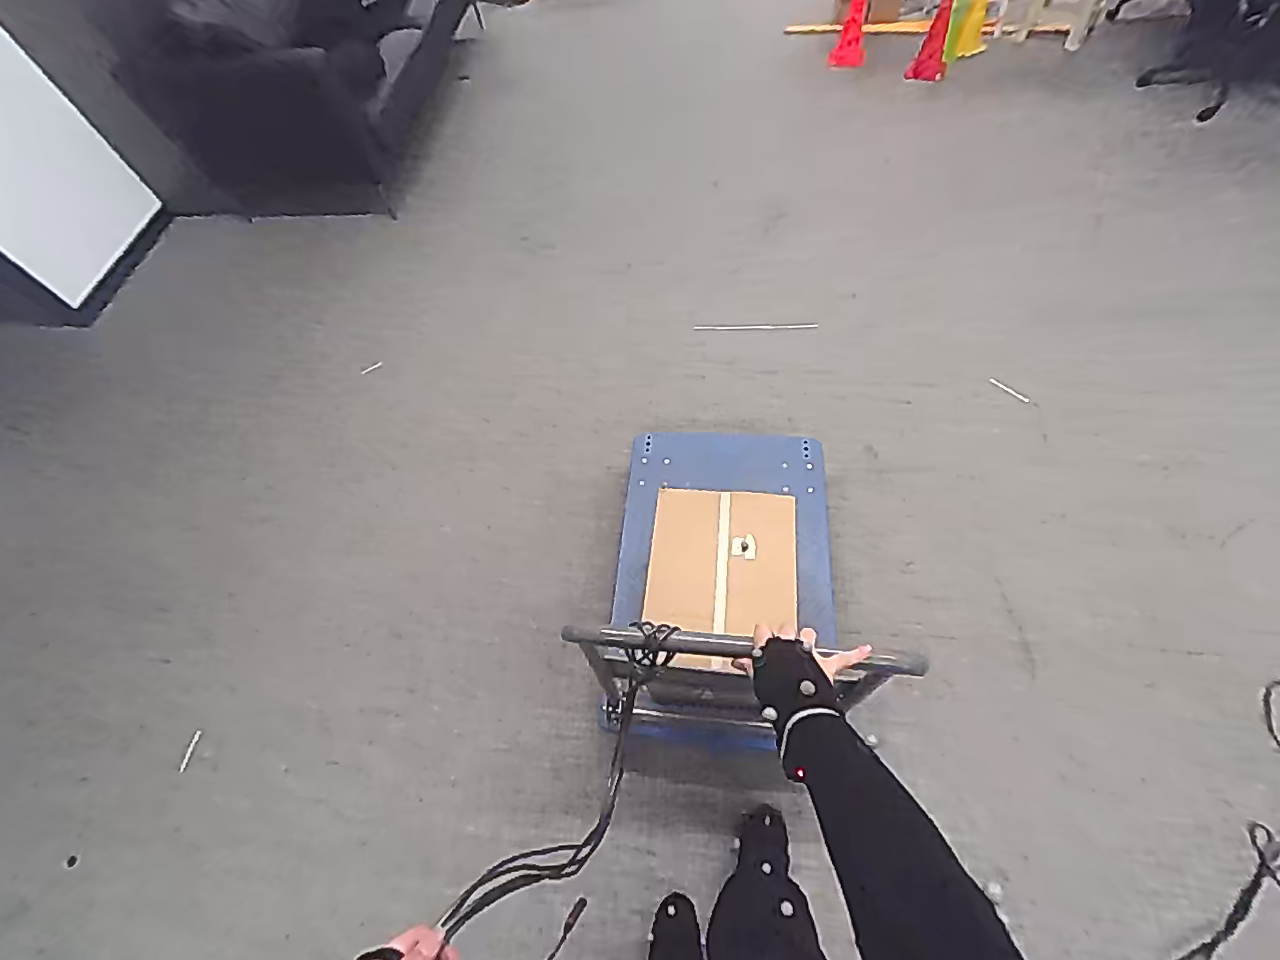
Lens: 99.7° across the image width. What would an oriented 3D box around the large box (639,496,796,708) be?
[{"bbox_3d":[0.185,0.294,1.283,0.320,0.320,0.408,4,59,8],"label":"large box"}]
